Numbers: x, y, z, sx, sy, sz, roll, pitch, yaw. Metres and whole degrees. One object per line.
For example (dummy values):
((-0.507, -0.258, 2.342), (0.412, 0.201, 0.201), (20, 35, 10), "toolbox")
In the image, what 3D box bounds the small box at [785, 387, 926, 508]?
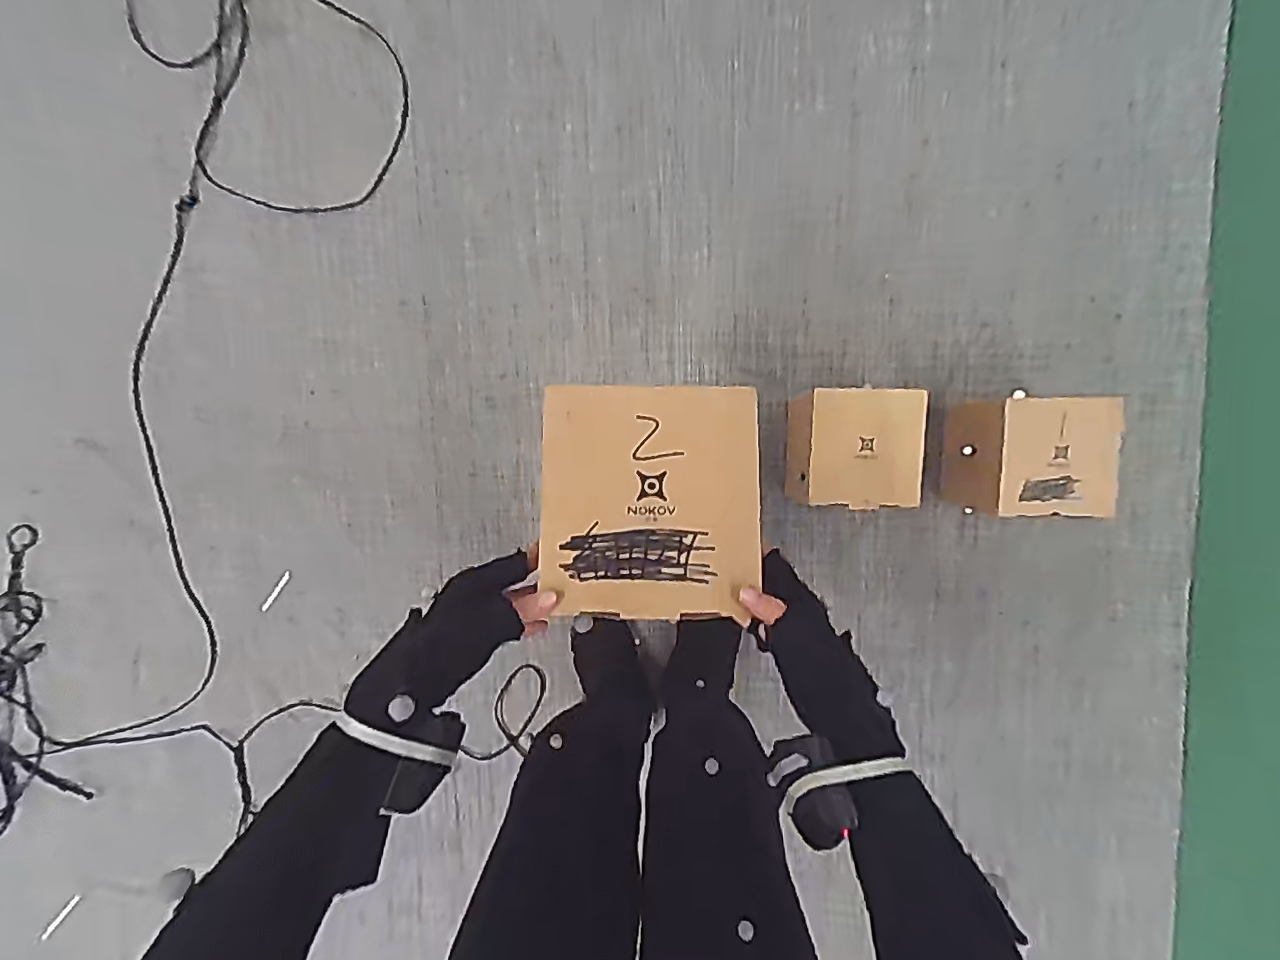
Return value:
((0.336, -0.054, 0.874), (0.168, 0.176, 0.179), (1, 95, 3), "small box")

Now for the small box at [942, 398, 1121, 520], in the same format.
((0.605, -0.038, 0.859), (0.168, 0.176, 0.179), (1, 94, 3), "small box")
